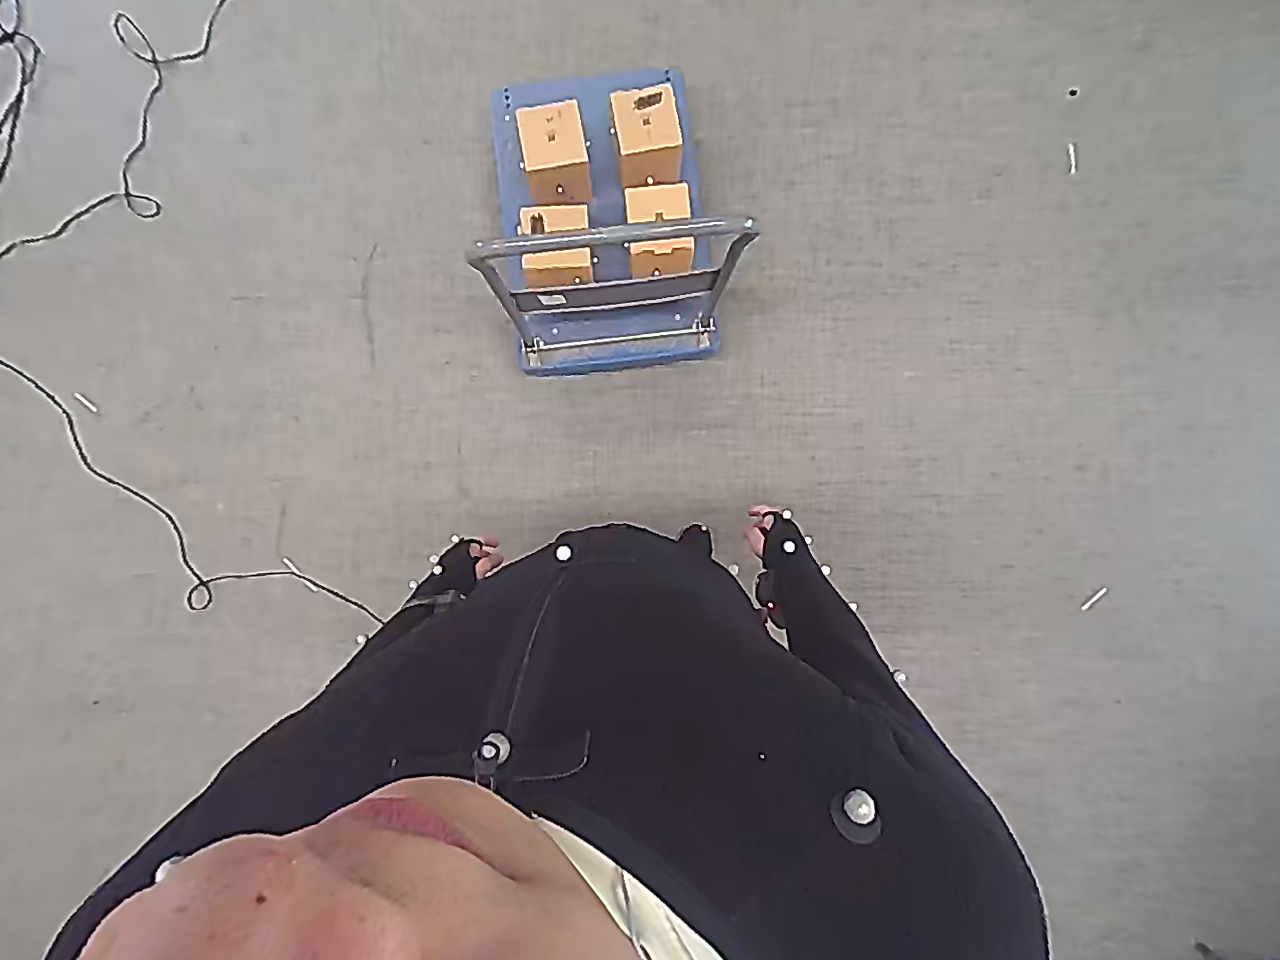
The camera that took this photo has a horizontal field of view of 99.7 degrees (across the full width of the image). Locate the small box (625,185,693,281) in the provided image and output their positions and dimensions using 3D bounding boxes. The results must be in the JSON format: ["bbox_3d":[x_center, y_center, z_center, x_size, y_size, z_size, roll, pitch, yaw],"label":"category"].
[{"bbox_3d":[0.047,-0.663,1.464,0.168,0.176,0.179,-6,86,-1],"label":"small box"}]

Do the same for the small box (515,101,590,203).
[{"bbox_3d":[-0.233,-0.884,1.478,0.168,0.176,0.179,-10,86,-2],"label":"small box"}]

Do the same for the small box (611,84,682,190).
[{"bbox_3d":[0.014,-0.931,1.483,0.168,0.176,0.179,-10,87,0],"label":"small box"}]
